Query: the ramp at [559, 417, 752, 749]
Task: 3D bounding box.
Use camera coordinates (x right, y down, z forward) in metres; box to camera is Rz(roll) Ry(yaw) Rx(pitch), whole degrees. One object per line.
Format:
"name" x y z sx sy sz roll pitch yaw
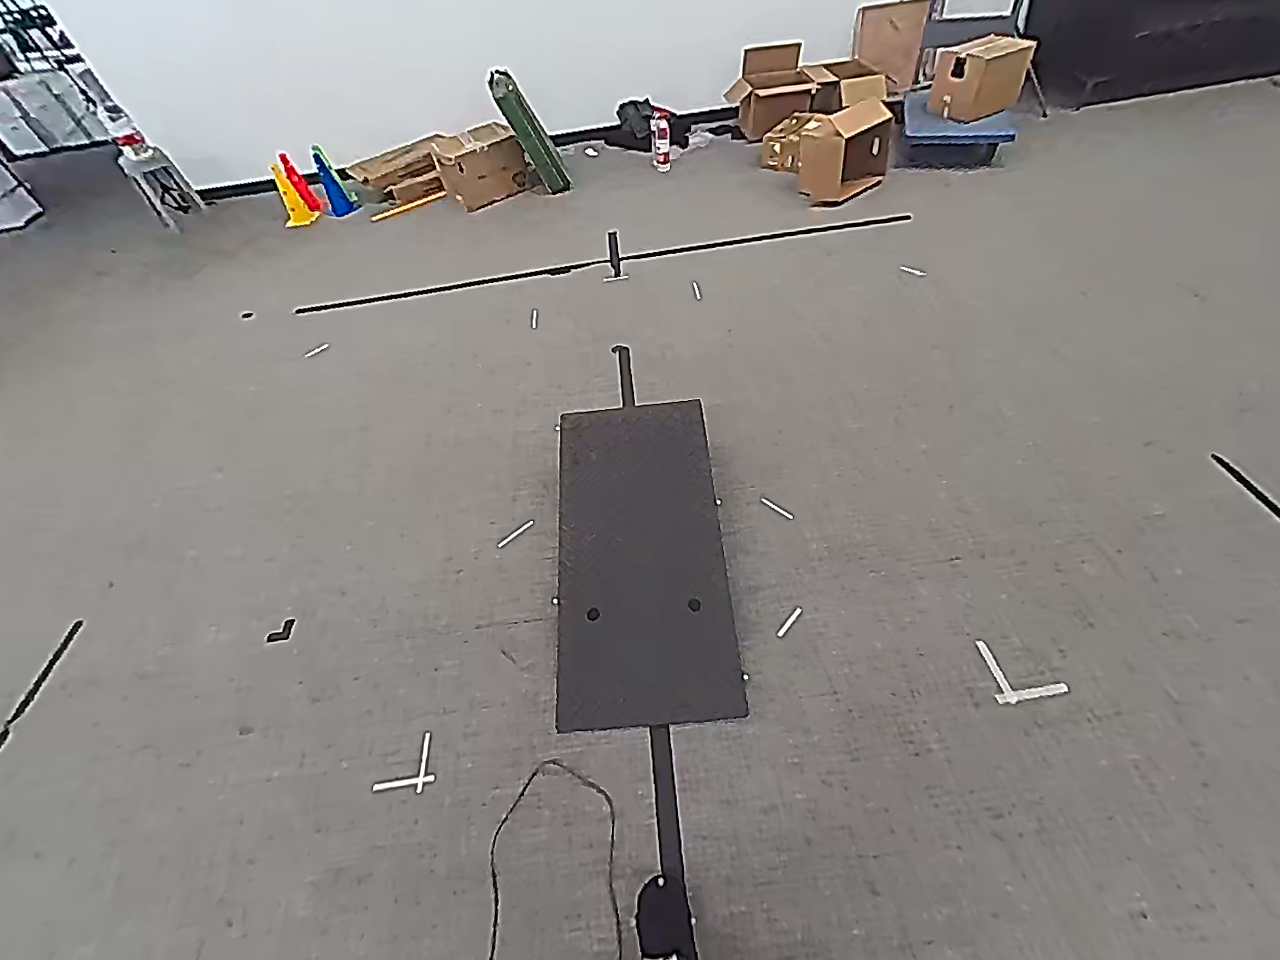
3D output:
"ramp" 0.003 0.234 1.627 0.509 0.206 0.991 -8 48 1
